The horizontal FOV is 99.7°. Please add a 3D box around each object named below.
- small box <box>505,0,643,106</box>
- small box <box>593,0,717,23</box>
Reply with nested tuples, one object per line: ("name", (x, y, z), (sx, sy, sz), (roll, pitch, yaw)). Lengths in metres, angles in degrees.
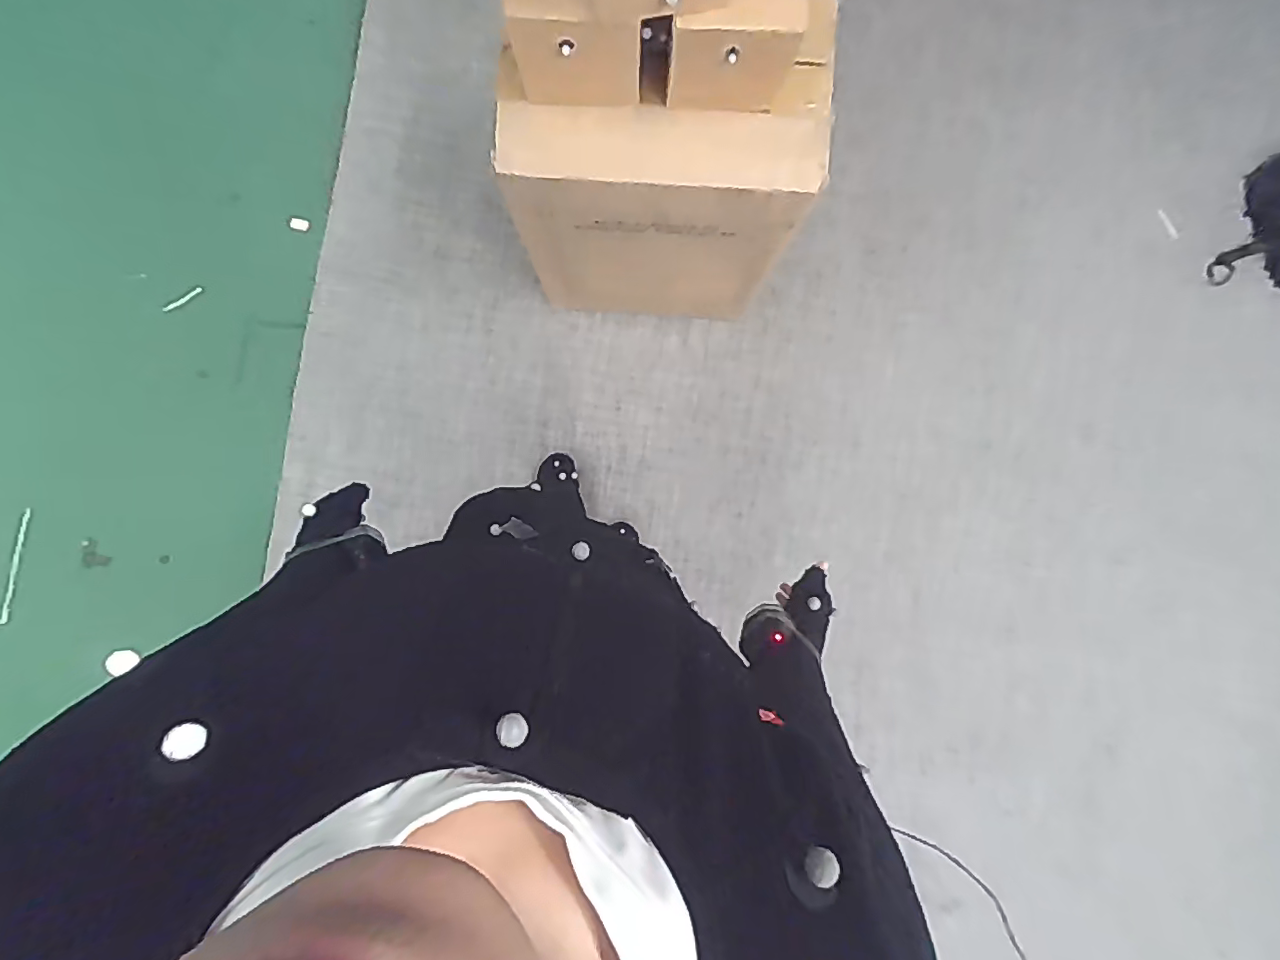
("small box", (-0.085, -0.672, 0.772), (0.179, 0.176, 0.168), (2, 92, -1))
("small box", (0.022, -0.670, 0.610), (0.179, 0.176, 0.168), (-10, 92, -2))
